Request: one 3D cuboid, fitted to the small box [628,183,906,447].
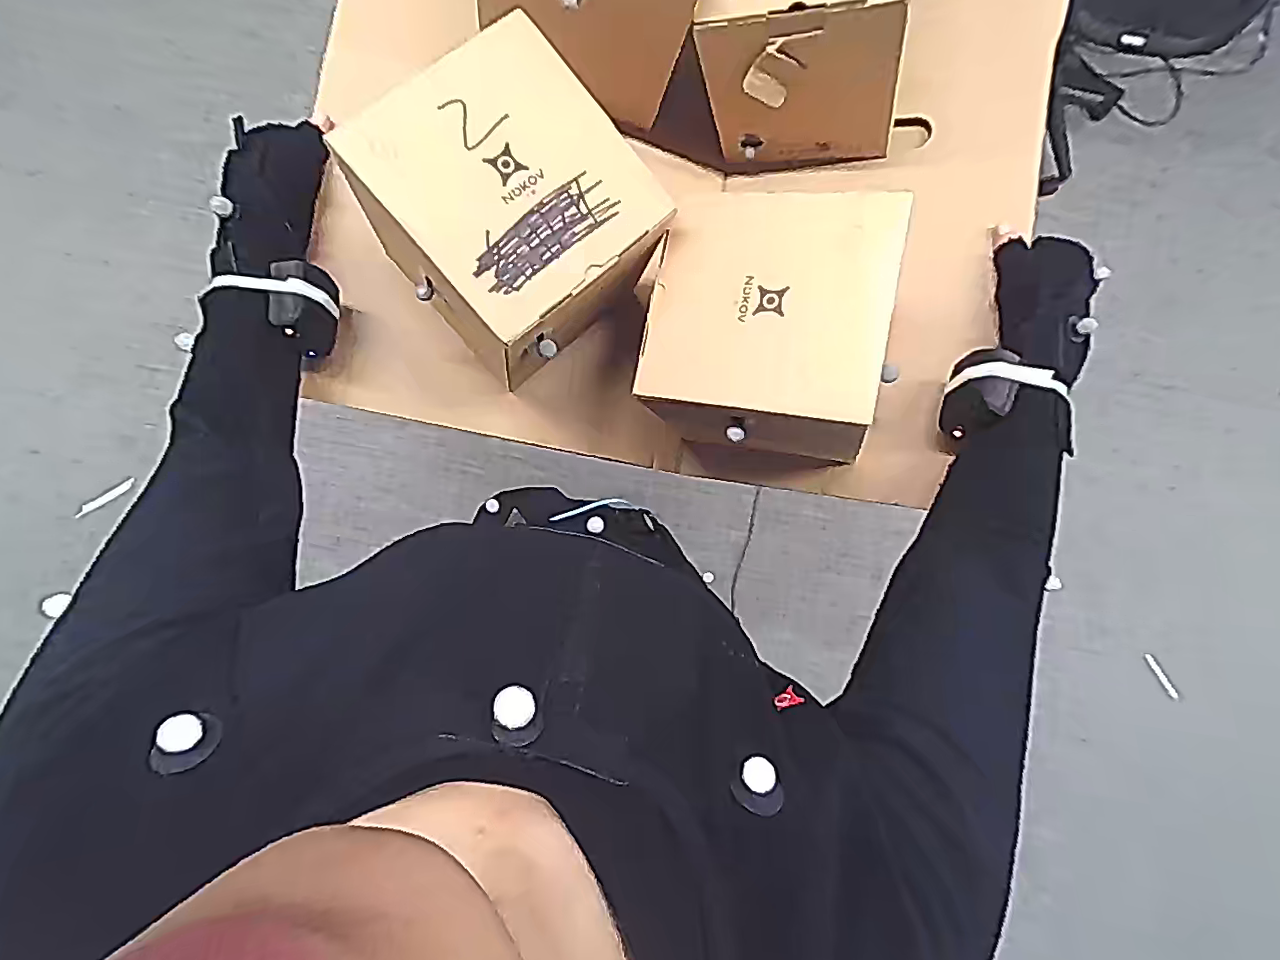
[{"bbox_3d":[0.113,-0.129,0.471,0.179,0.176,0.168,11,87,21],"label":"small box"}]
